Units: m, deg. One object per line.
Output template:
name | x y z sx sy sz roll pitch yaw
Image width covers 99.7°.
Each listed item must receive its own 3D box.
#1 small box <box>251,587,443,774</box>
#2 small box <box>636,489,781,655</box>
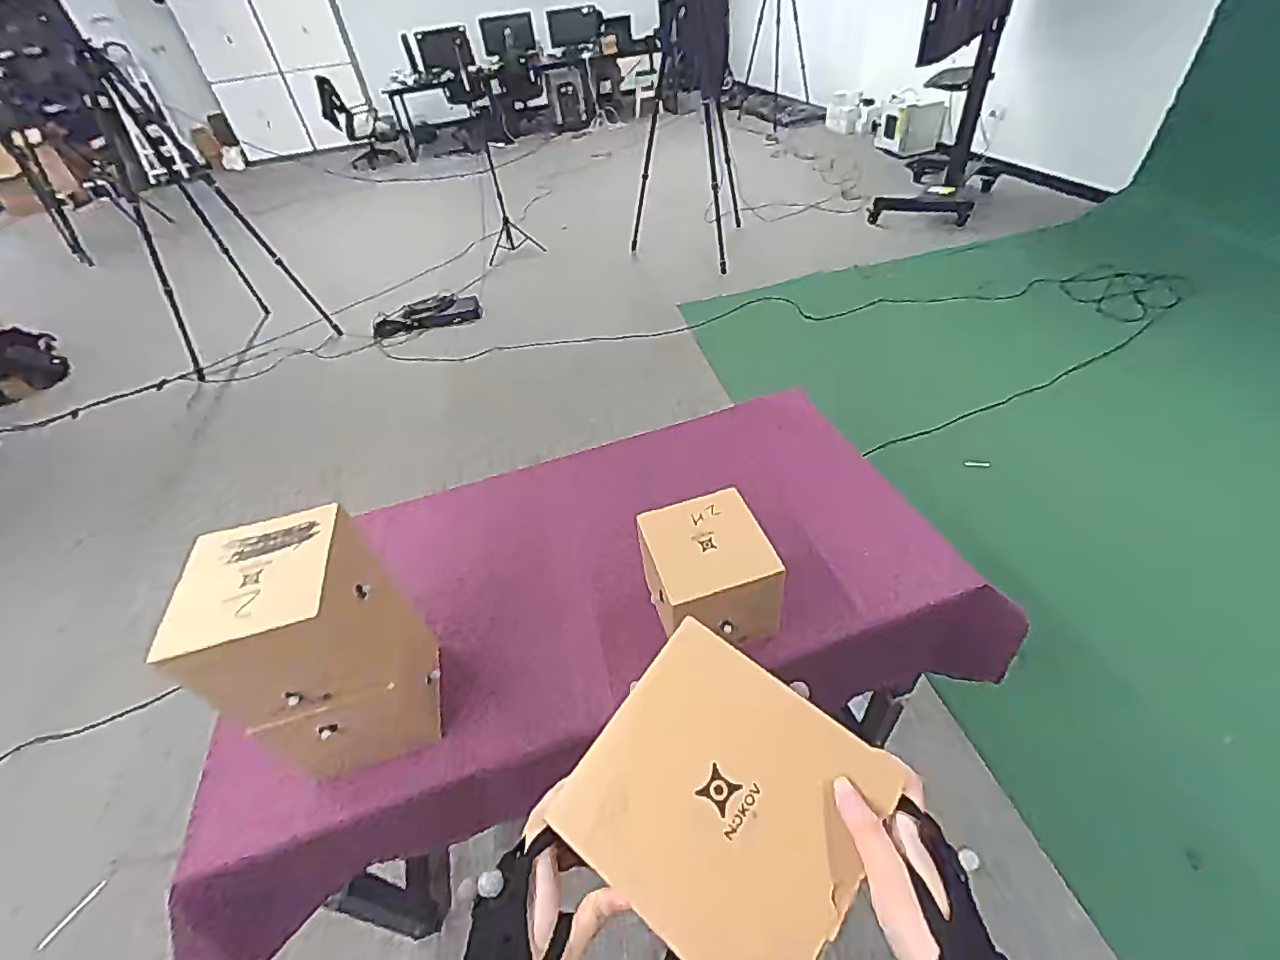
small box | -0.398 0.287 0.769 0.179 0.176 0.168 -16 44 -8
small box | 0.103 0.148 0.834 0.168 0.176 0.179 -15 44 -7
